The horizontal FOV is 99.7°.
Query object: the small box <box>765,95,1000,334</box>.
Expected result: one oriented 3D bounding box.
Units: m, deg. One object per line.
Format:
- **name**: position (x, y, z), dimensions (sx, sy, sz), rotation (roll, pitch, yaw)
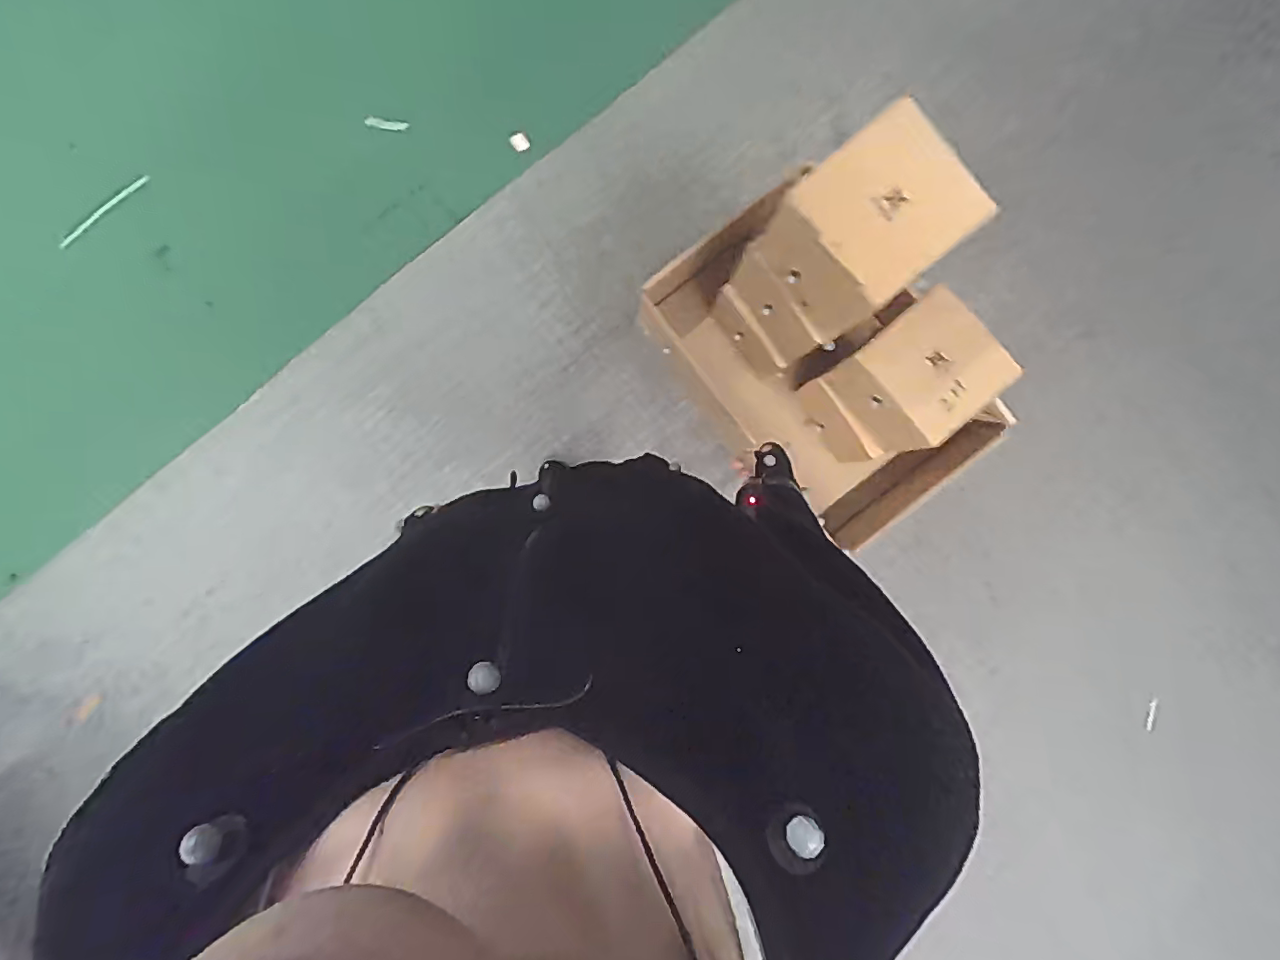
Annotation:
- **small box**: position (0.284, -0.313, 0.678), dimensions (0.179, 0.176, 0.168), rotation (-39, 91, 1)
